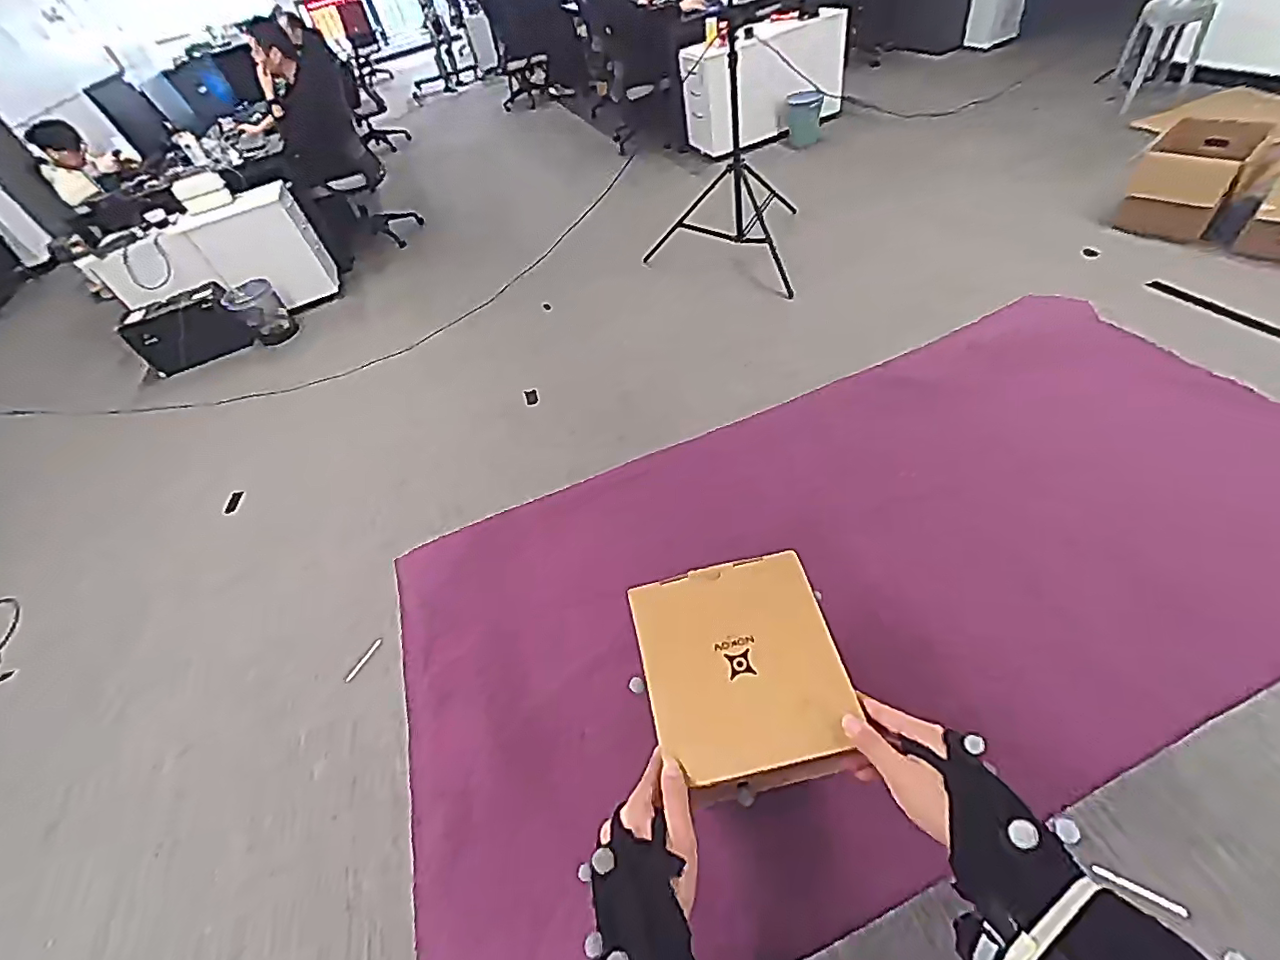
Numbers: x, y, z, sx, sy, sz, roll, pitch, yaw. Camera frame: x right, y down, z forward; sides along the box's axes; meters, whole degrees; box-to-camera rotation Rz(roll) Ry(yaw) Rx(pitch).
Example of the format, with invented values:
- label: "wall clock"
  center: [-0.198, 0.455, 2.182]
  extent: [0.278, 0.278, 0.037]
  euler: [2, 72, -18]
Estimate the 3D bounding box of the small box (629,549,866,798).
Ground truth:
- label: "small box"
  center: [0.095, 0.197, 0.530]
  extent: [0.168, 0.176, 0.179]
  euler: [-14, 53, 0]
